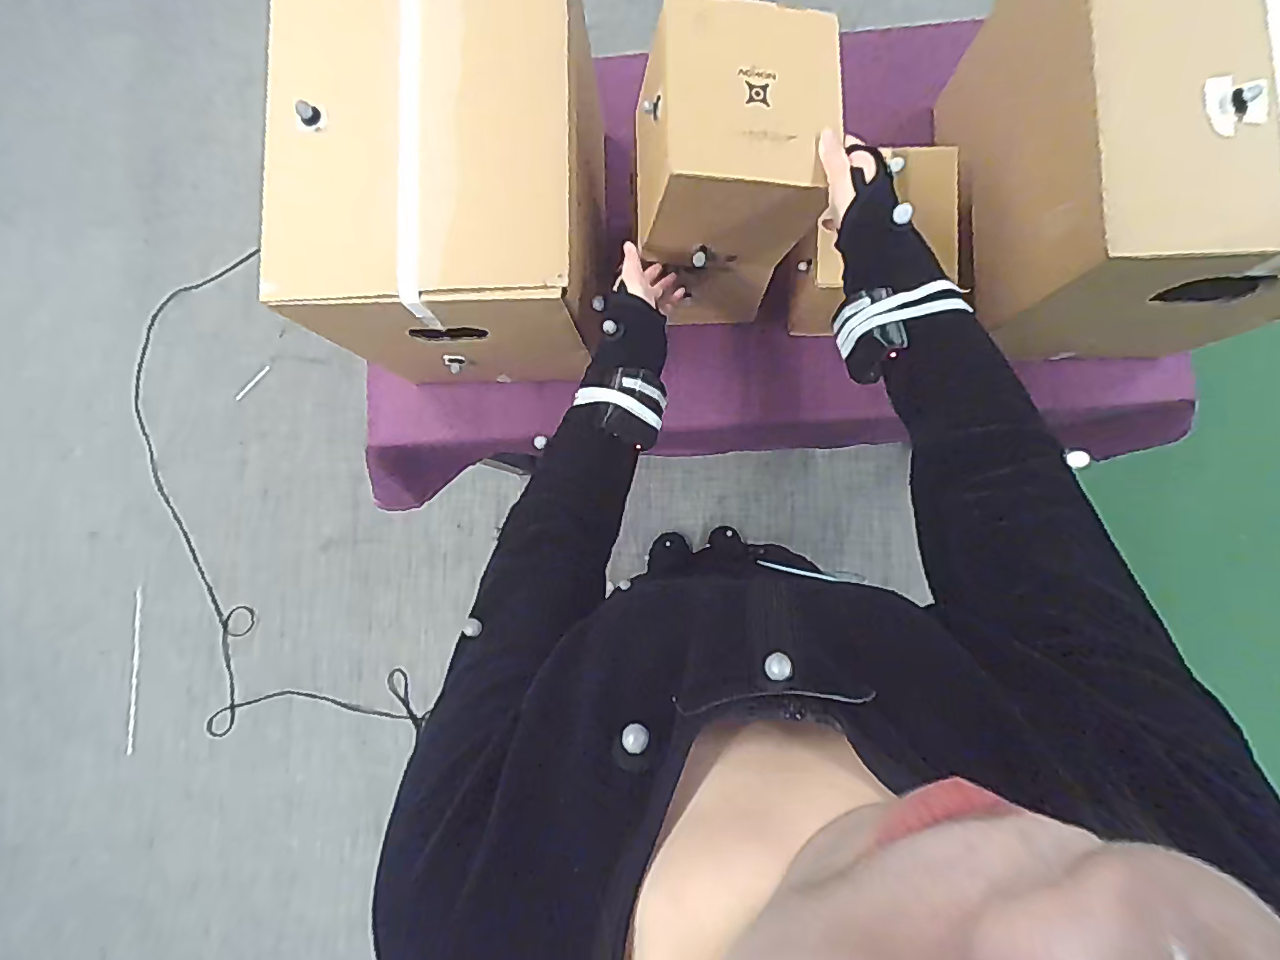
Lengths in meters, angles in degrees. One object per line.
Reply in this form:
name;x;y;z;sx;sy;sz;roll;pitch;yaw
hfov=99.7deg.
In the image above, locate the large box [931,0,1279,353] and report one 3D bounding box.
large box;0.585;-0.393;0.653;0.320;0.320;0.408;0;86;3
